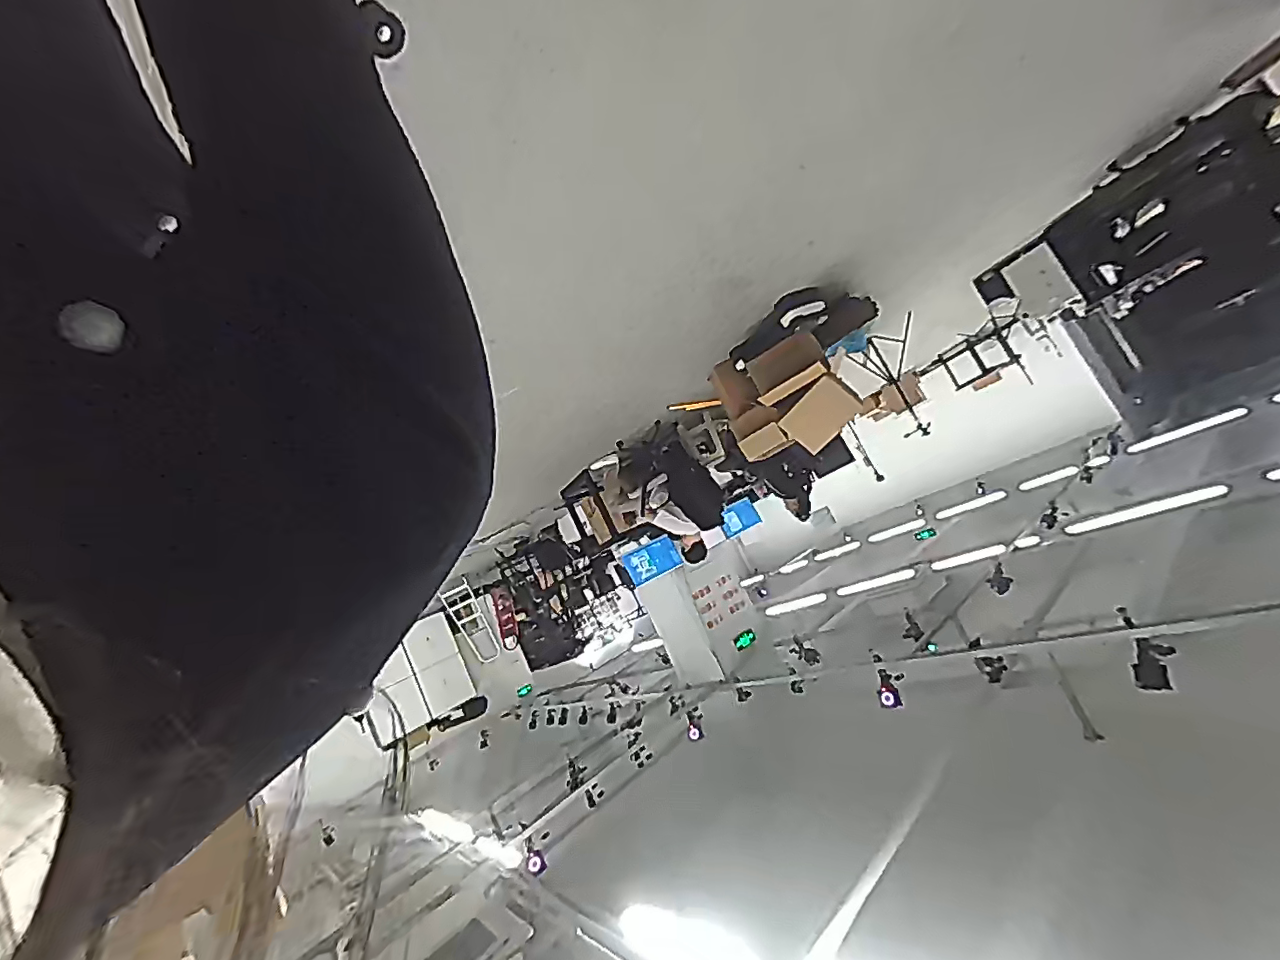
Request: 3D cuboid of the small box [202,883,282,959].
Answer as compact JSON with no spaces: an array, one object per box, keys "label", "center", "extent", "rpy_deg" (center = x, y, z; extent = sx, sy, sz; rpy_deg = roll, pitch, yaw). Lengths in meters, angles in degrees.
[{"label":"small box","center":[-1.286,1.453,1.751],"extent":[0.168,0.176,0.179],"rpy_deg":[-21,166,-37]}]
